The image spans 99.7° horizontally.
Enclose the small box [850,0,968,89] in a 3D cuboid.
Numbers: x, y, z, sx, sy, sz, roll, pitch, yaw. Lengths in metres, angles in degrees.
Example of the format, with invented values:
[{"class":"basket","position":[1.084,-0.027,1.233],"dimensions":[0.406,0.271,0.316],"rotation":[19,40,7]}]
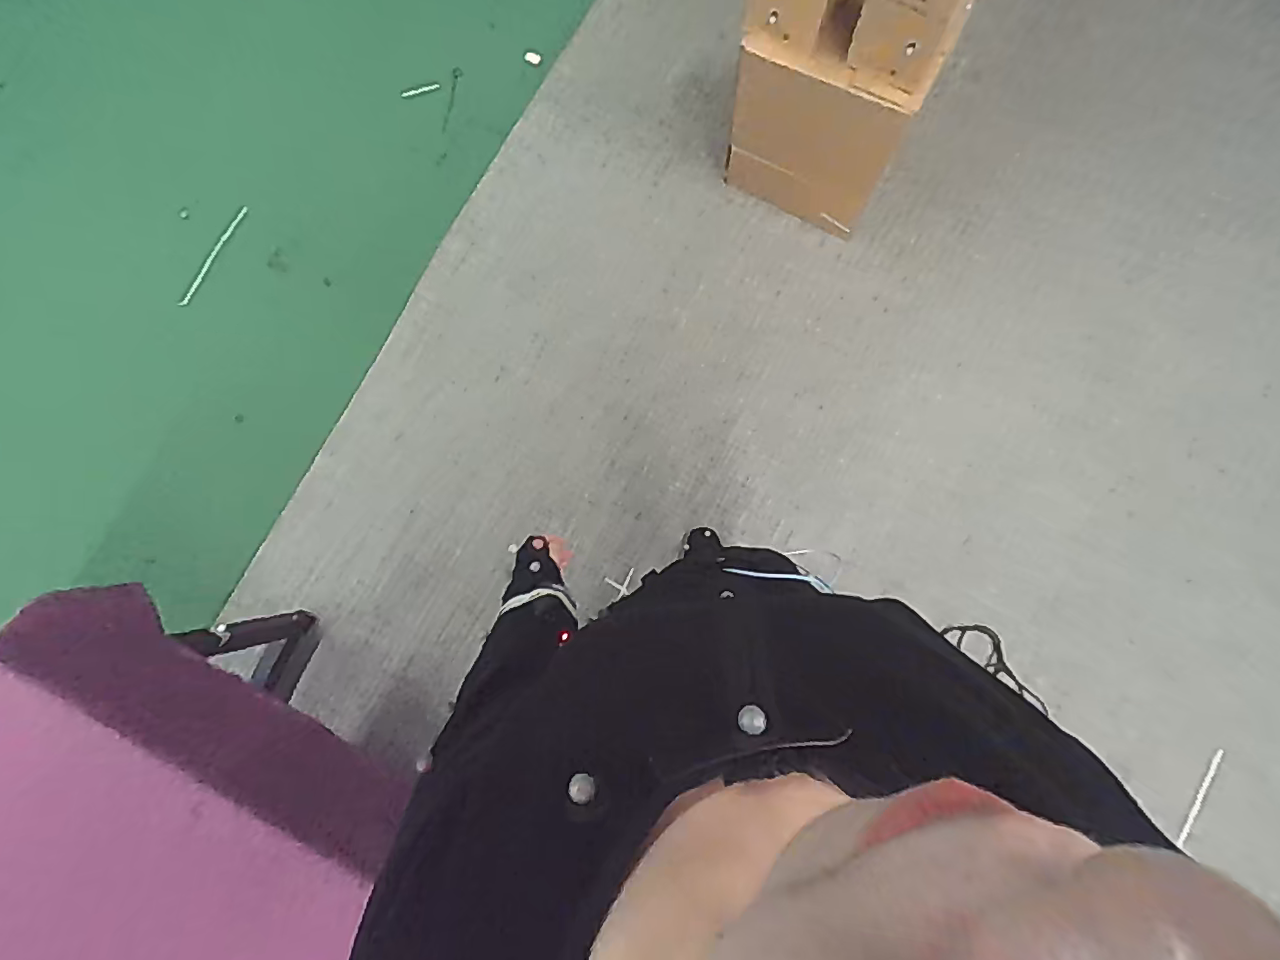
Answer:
[{"class":"small box","position":[0.539,-0.930,1.066],"dimensions":[0.168,0.176,0.179],"rotation":[31,86,8]}]

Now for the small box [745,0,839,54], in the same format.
[{"class":"small box","position":[0.326,-1.032,1.095],"dimensions":[0.168,0.176,0.179],"rotation":[29,87,6]}]
